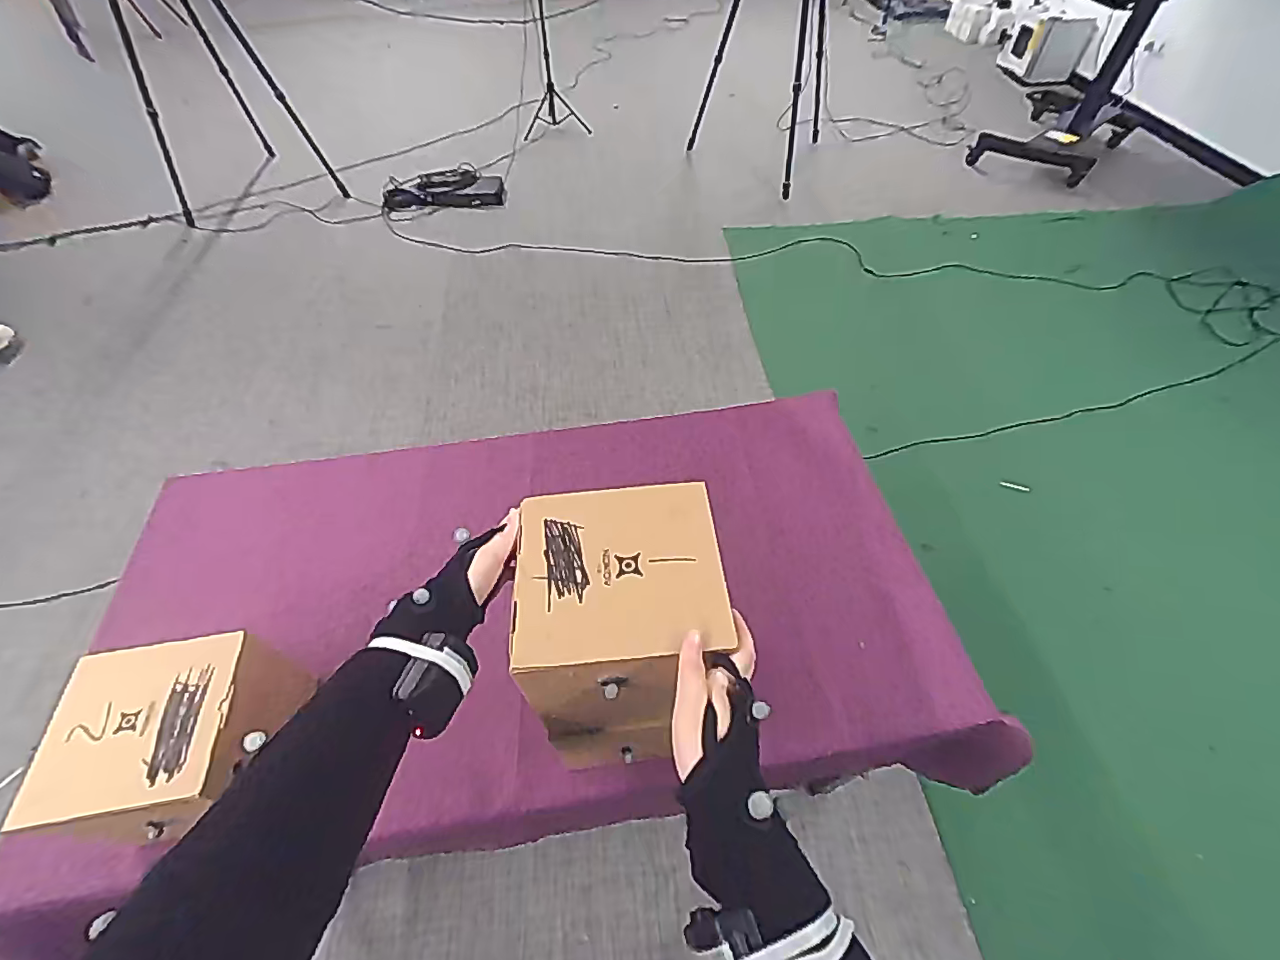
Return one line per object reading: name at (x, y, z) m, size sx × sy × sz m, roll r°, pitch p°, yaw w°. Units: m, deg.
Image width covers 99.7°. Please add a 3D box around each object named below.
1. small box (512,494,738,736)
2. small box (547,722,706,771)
small box at (-0.012, 0.134, 0.520) m, size 0.179 × 0.176 × 0.168 m, roll -5°, pitch 50°, yaw -1°
small box at (-0.019, 0.241, 0.655) m, size 0.168 × 0.176 × 0.179 m, roll -5°, pitch 52°, yaw -4°
